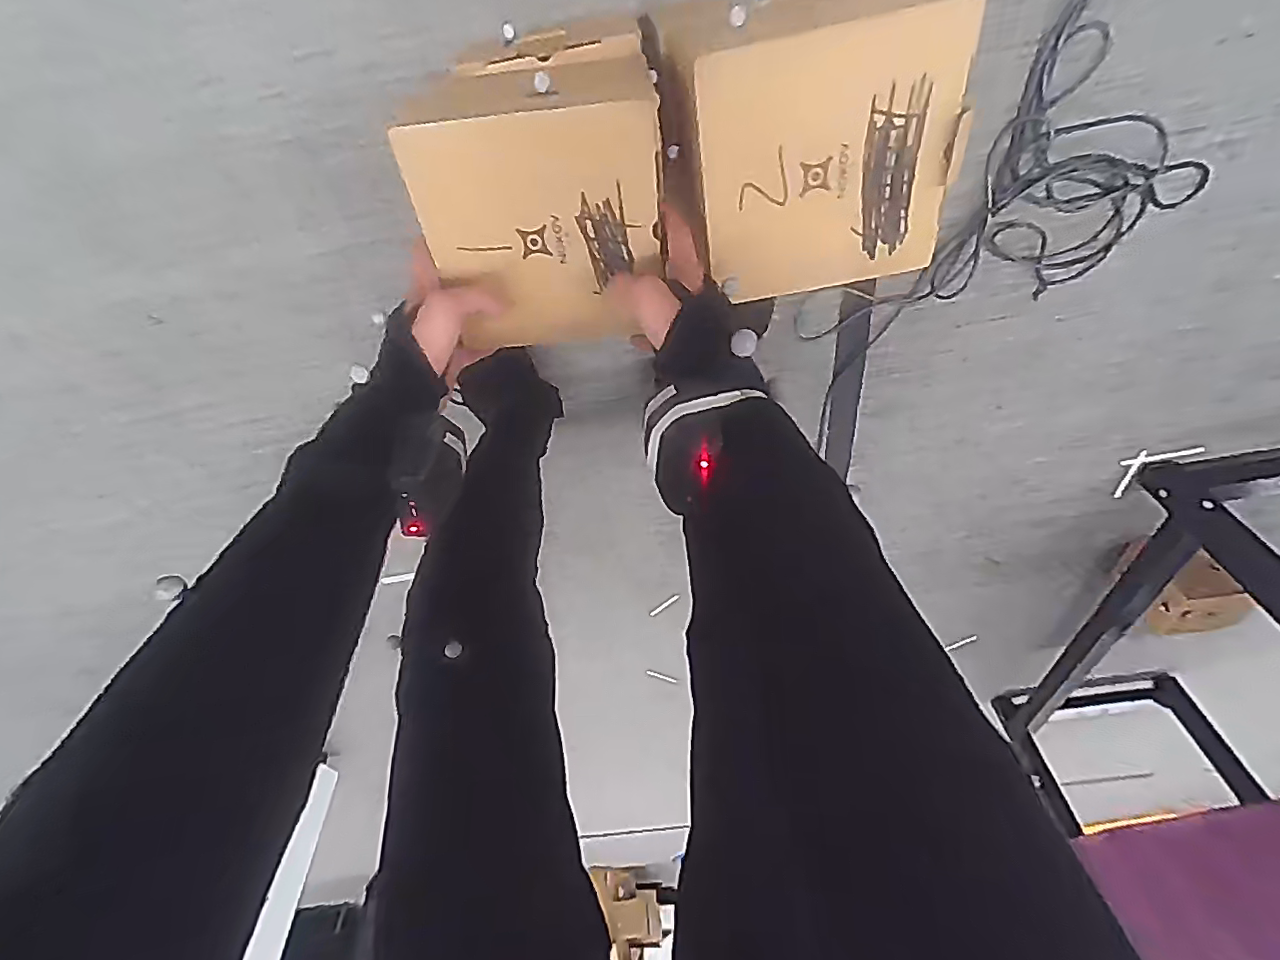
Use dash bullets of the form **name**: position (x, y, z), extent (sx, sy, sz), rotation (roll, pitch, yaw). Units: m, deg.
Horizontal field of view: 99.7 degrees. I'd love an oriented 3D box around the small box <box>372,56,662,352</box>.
- **small box**: position (-0.077, -0.226, 0.443), extent (0.179, 0.176, 0.168), rotation (-4, 135, 4)
